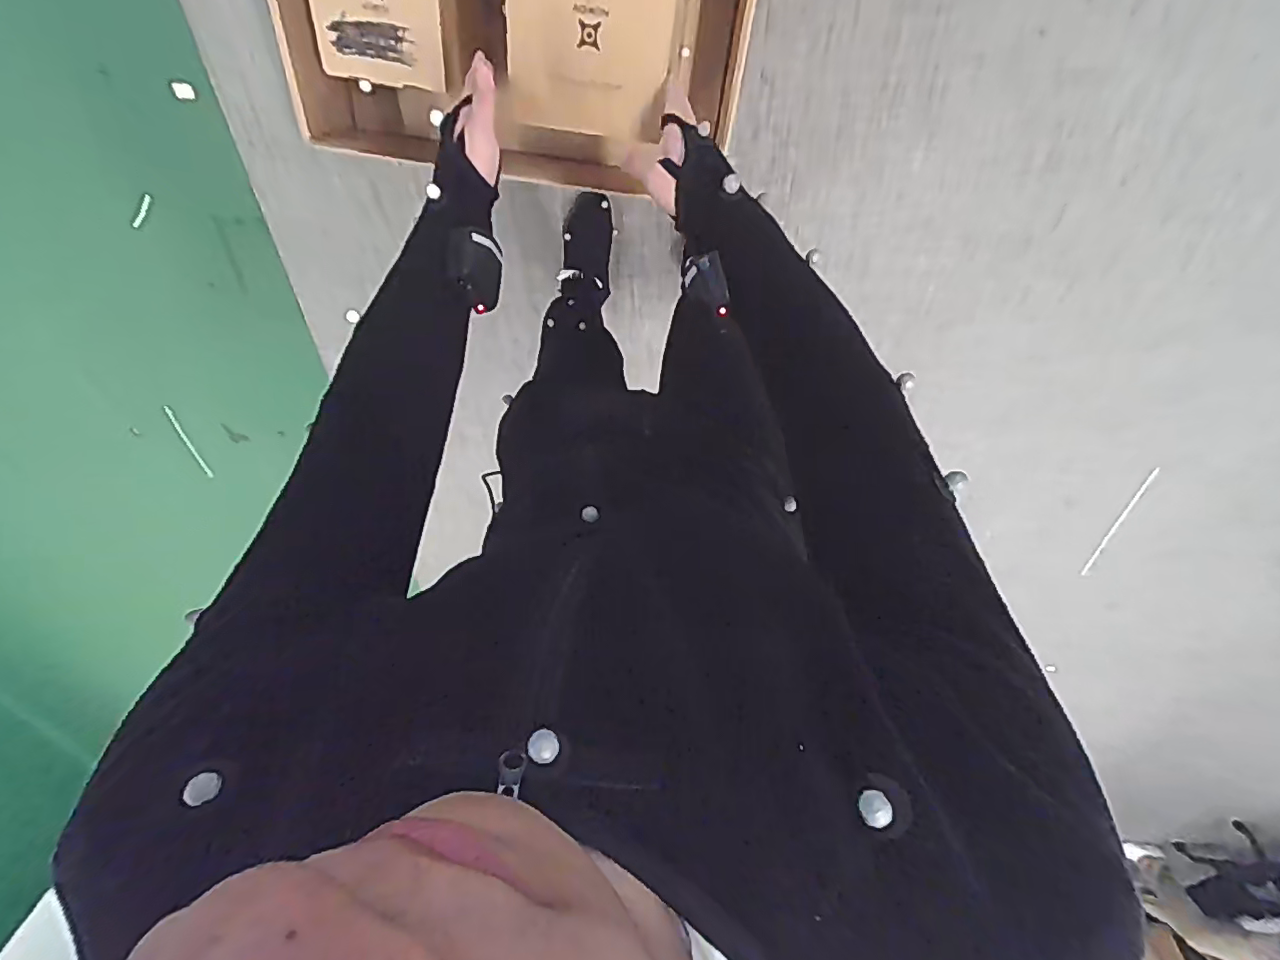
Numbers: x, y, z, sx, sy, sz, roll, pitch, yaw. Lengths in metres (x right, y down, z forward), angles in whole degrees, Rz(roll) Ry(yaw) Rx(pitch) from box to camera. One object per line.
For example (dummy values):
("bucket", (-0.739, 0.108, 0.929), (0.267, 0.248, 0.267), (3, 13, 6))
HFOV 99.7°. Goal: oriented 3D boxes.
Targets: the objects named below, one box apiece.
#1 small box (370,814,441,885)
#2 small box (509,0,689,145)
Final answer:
("small box", (-0.851, 1.354, 1.983), (0.168, 0.176, 0.179), (3, 130, 3))
("small box", (-0.038, -0.489, 0.585), (0.168, 0.176, 0.179), (10, 130, 0))
